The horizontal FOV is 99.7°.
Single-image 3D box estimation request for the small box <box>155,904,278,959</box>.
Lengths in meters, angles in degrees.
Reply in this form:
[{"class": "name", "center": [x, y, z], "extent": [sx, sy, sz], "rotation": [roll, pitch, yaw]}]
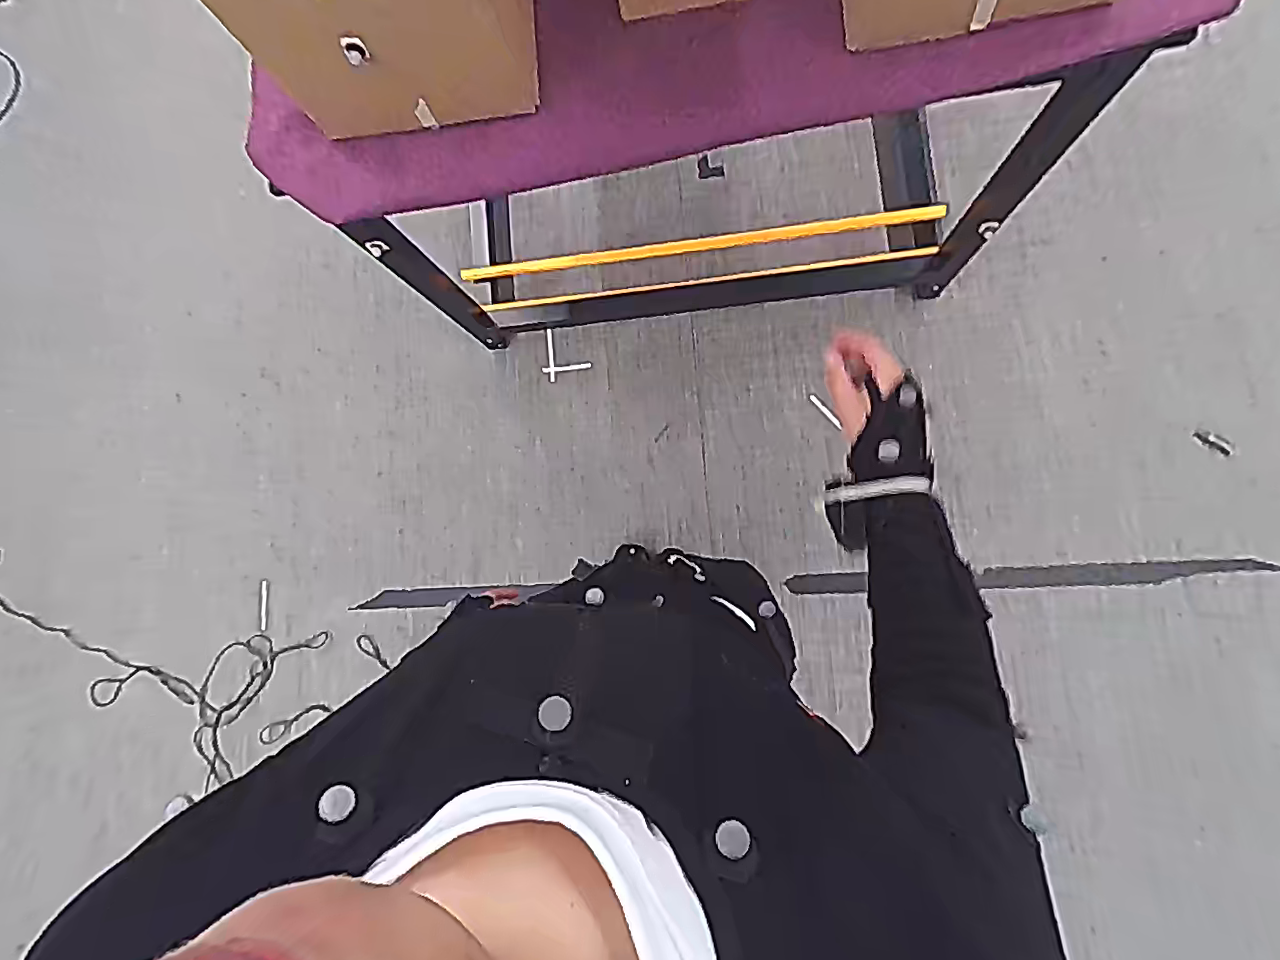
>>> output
[{"class": "small box", "center": [-1.047, 1.201, 1.346], "extent": [0.179, 0.176, 0.168], "rotation": [-11, 83, 6]}]
